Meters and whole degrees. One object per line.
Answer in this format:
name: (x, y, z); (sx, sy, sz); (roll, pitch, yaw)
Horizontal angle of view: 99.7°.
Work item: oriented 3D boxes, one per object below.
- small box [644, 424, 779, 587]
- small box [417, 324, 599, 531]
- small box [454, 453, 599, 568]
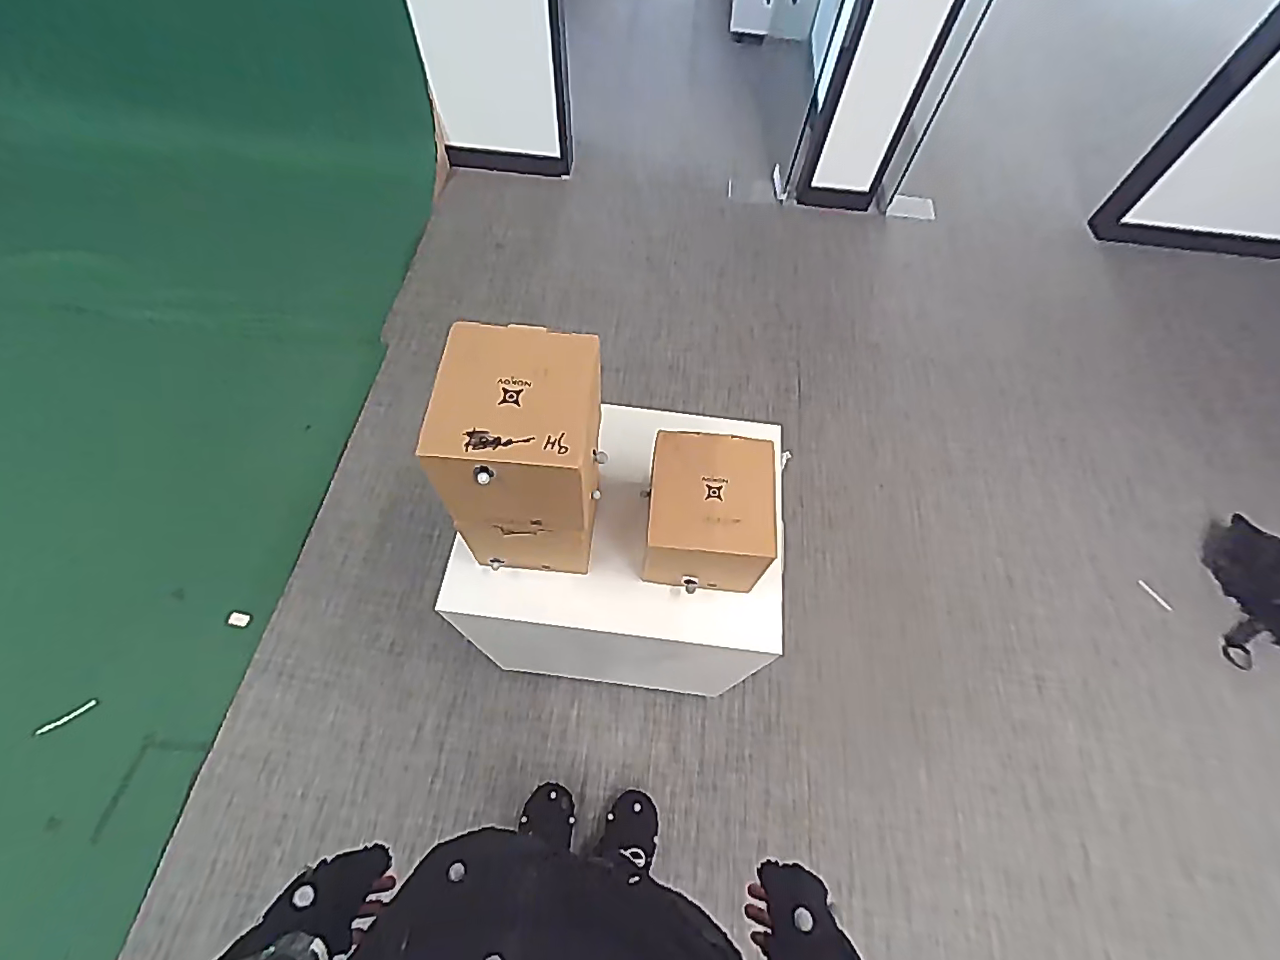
small box: (0.095, 0.041, 0.772); (0.168, 0.176, 0.179); (4, 64, 1)
small box: (-0.139, -0.057, 0.644); (0.168, 0.176, 0.179); (4, 62, -1)
small box: (-0.151, 0.019, 0.787); (0.168, 0.176, 0.179); (5, 61, -1)
